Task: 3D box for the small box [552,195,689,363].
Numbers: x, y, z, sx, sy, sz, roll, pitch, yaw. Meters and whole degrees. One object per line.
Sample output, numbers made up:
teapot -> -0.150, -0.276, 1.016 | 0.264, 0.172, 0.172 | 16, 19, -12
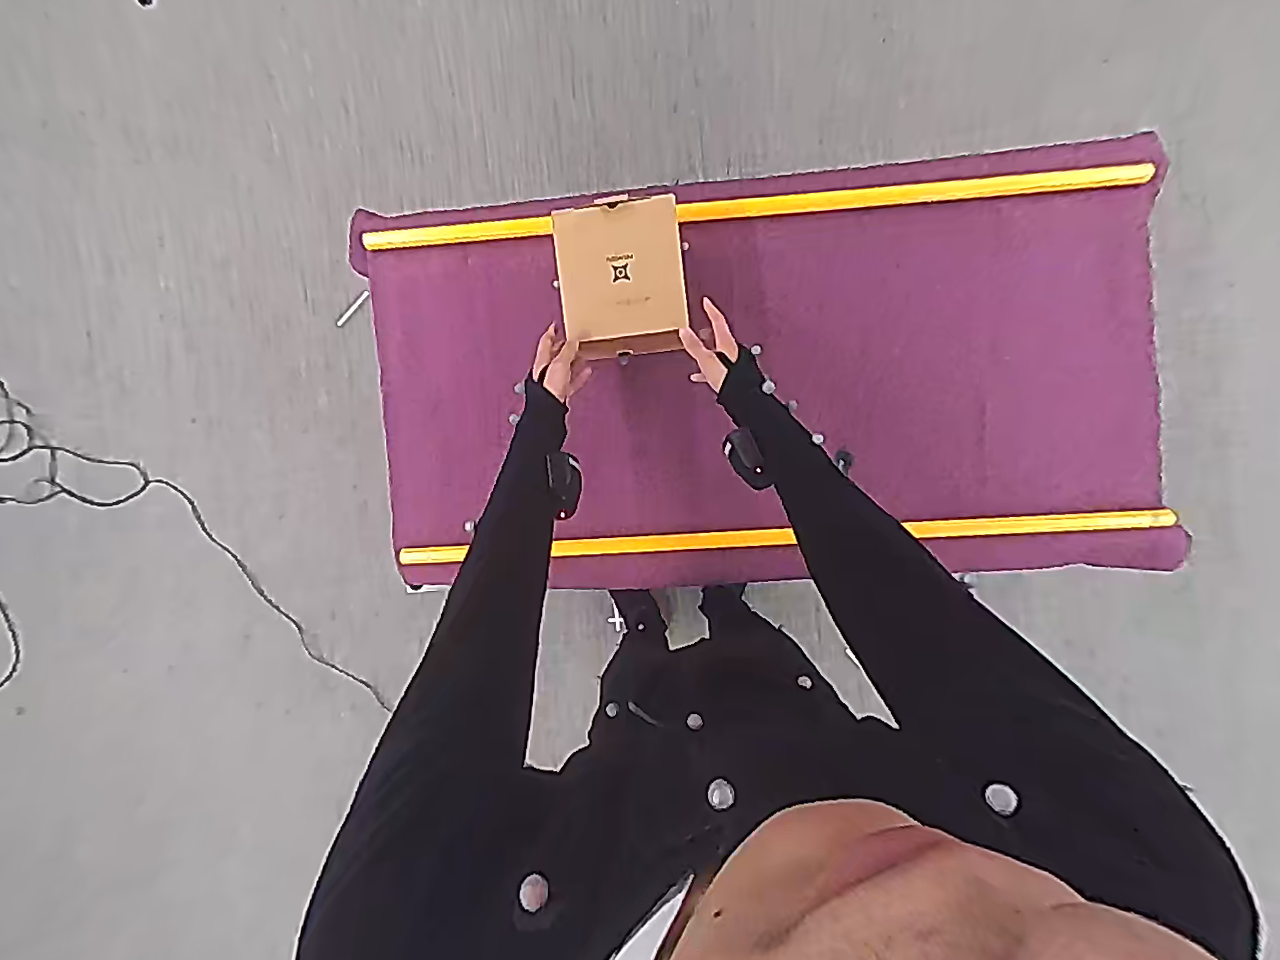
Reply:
small box -> -0.023, -0.278, 0.784 | 0.168, 0.176, 0.179 | -7, 93, 4
